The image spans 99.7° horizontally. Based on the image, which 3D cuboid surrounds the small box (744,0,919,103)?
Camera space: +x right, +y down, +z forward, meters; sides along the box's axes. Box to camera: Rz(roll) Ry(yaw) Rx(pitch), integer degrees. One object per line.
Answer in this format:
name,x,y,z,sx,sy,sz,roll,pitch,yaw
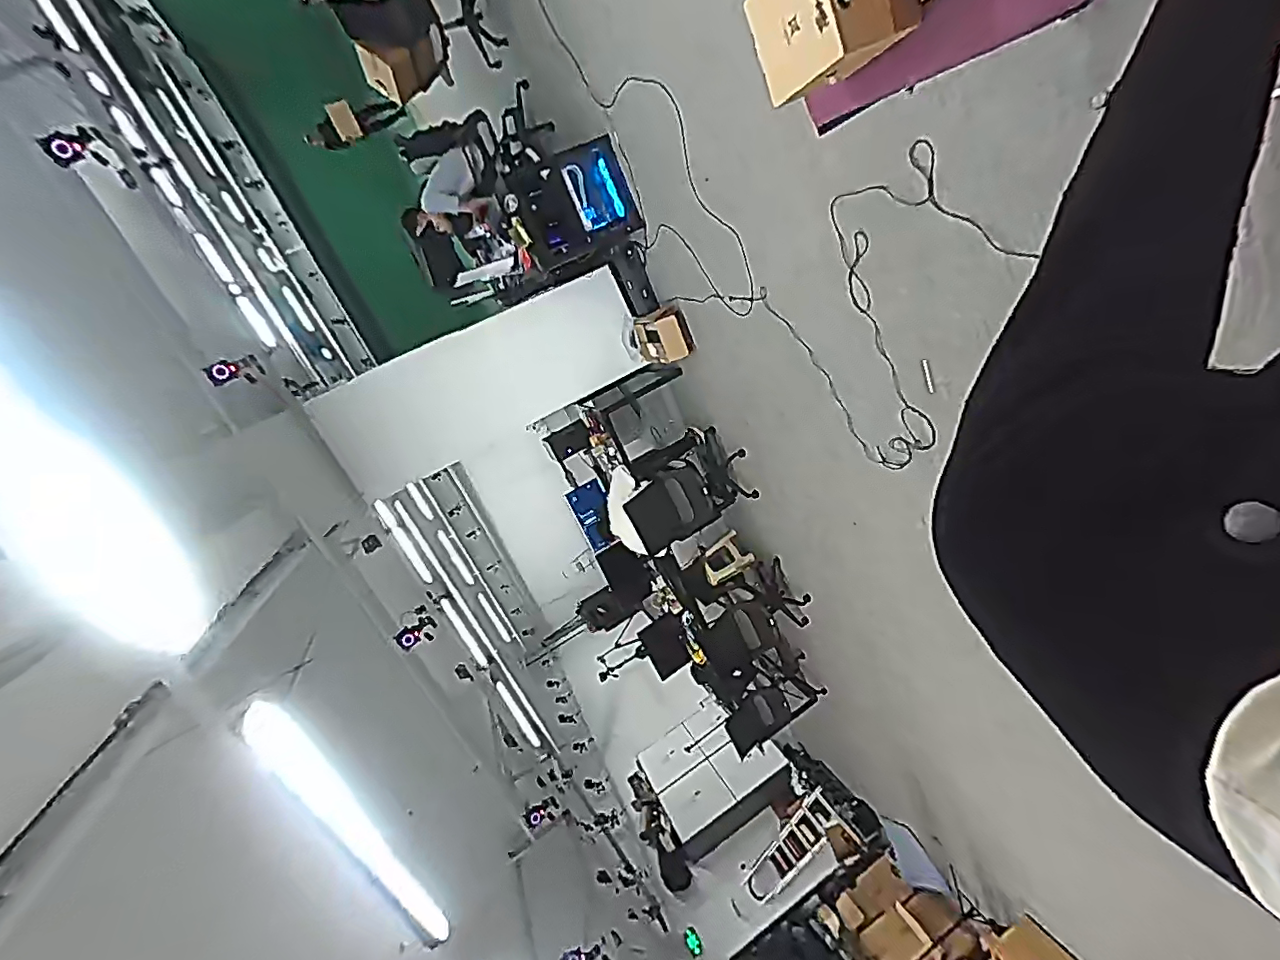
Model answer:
small box,0.301,-0.748,0.859,0.168,0.176,0.179,64,167,-19
